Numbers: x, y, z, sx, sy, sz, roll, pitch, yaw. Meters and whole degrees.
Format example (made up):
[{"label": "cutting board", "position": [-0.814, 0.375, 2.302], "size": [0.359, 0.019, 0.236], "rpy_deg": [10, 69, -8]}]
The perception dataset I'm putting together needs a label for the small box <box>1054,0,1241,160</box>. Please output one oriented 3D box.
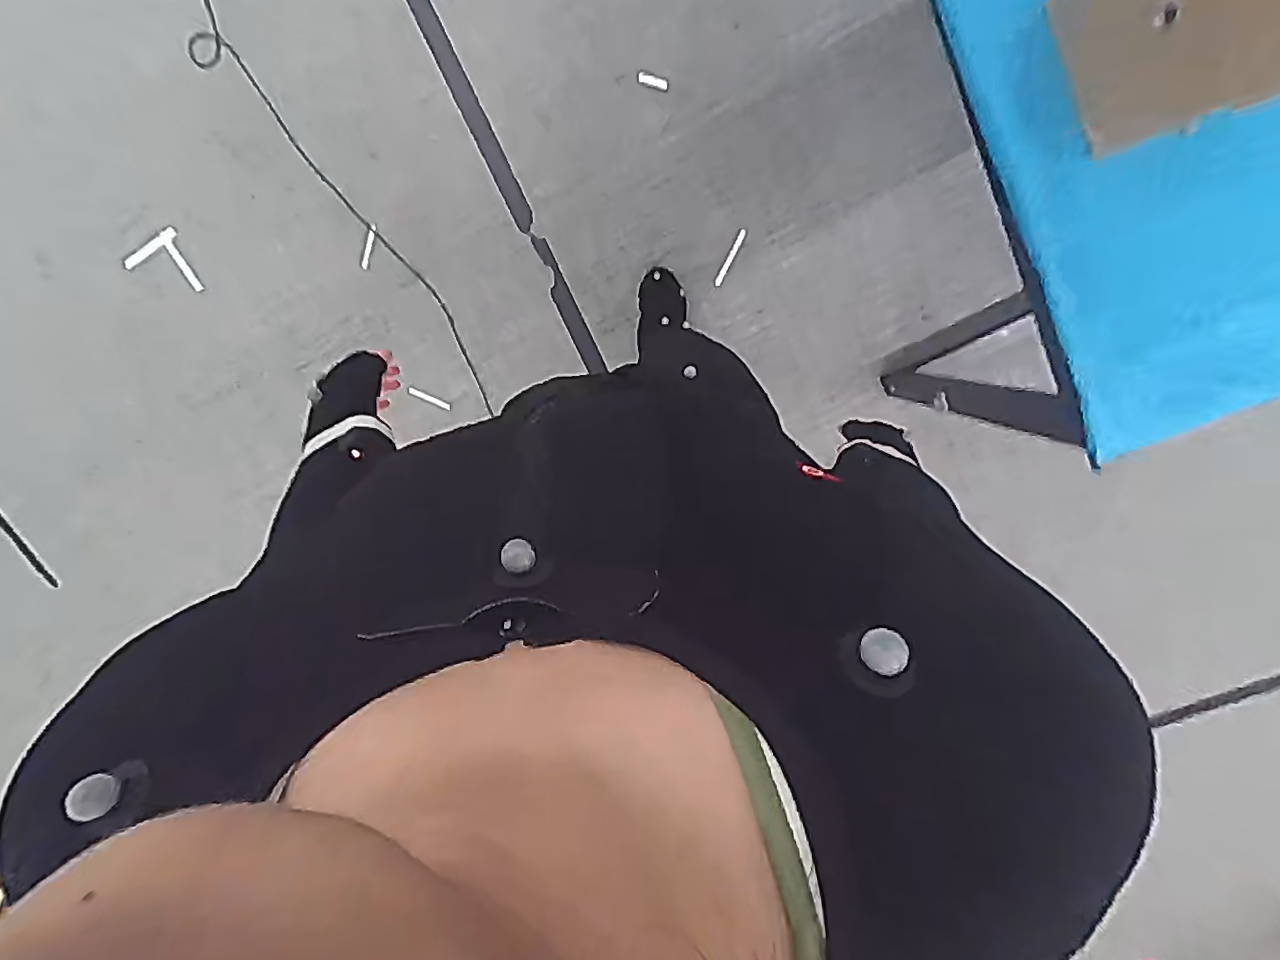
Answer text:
[{"label": "small box", "position": [0.522, -0.431, 0.484], "size": [0.168, 0.176, 0.179], "rpy_deg": [-25, 103, 11]}]
